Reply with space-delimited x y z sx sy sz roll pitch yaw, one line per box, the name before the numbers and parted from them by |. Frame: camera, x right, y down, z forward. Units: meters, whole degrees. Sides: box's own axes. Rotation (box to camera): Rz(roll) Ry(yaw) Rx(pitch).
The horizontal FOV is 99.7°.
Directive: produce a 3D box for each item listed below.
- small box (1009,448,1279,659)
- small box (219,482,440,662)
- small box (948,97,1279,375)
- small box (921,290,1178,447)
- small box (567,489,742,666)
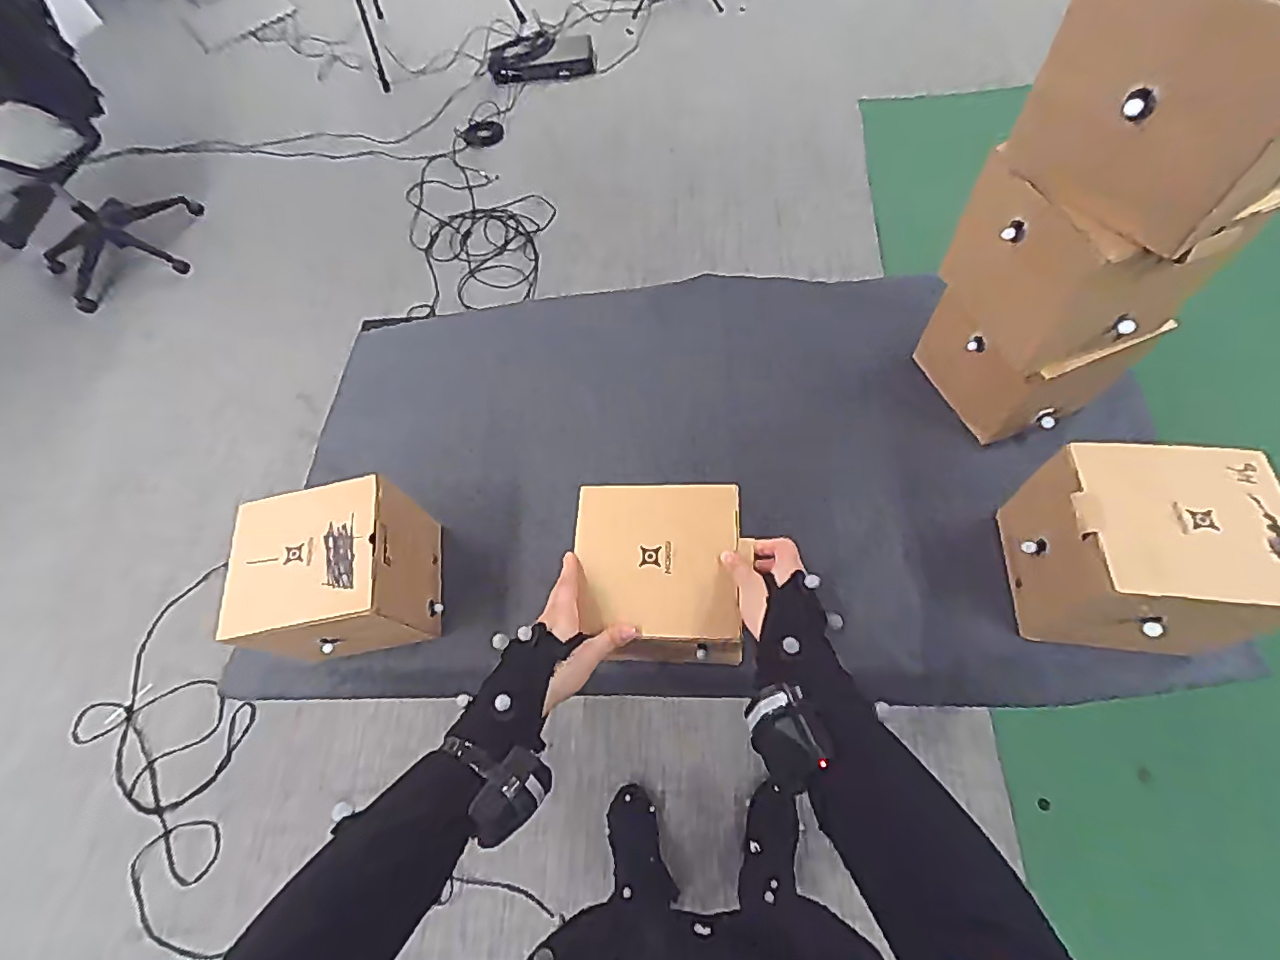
small box | 0.523 0.082 0.572 0.179 0.176 0.168 3 60 10
small box | -0.367 0.123 0.677 0.179 0.176 0.168 -12 64 2
small box | 0.460 -0.243 0.562 0.168 0.176 0.179 -19 63 2
small box | 0.505 -0.173 0.706 0.168 0.176 0.179 -23 65 0
small box | 0.028 0.119 0.629 0.179 0.176 0.168 -1 64 8
